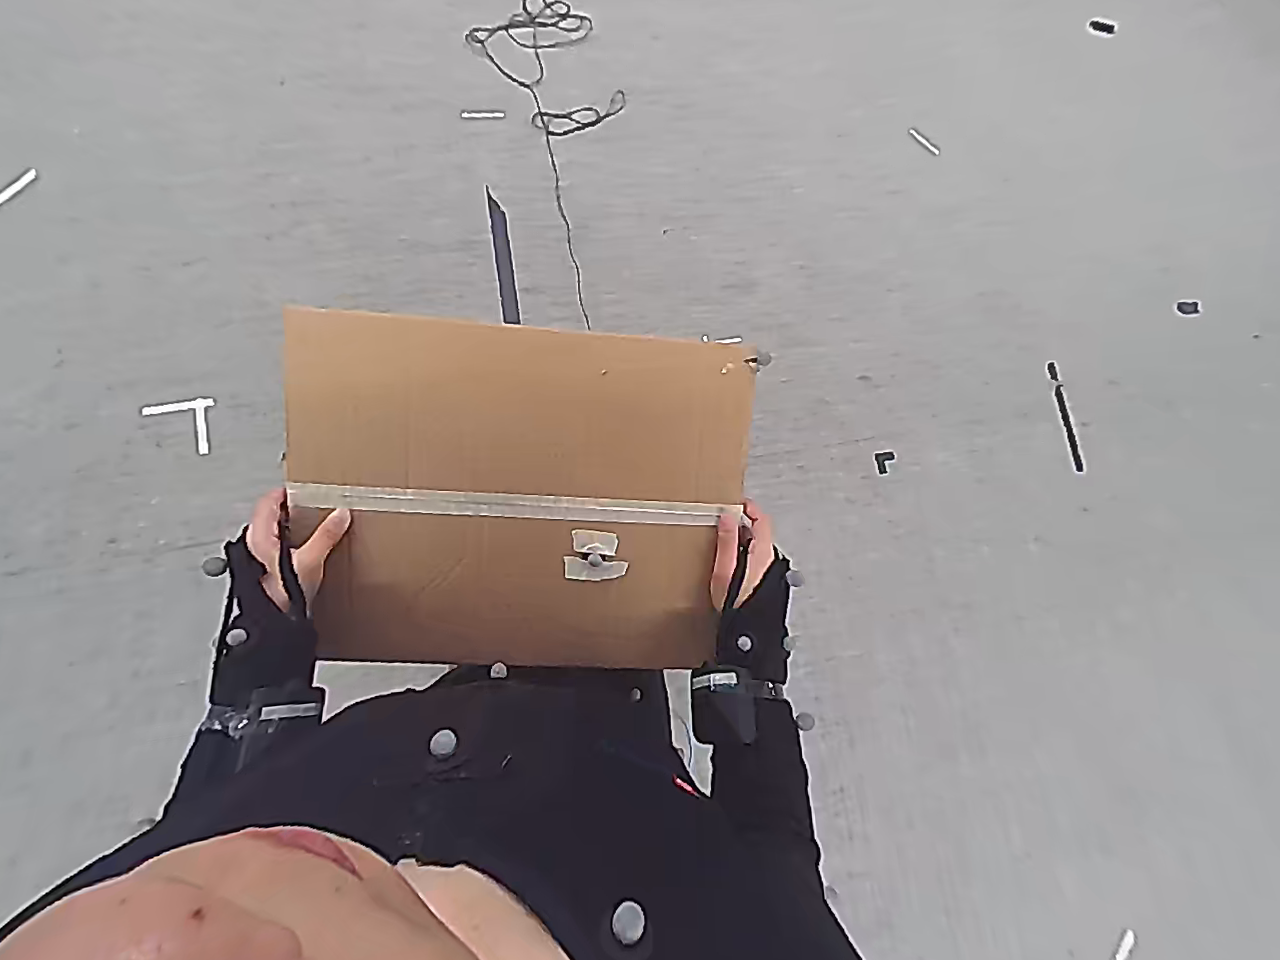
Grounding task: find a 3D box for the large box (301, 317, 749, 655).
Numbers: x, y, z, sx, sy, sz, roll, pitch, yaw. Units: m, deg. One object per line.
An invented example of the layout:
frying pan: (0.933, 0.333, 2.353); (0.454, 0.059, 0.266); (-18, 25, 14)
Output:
large box: (-0.119, -0.005, 0.651); (0.408, 0.320, 0.320); (2, 100, -7)
